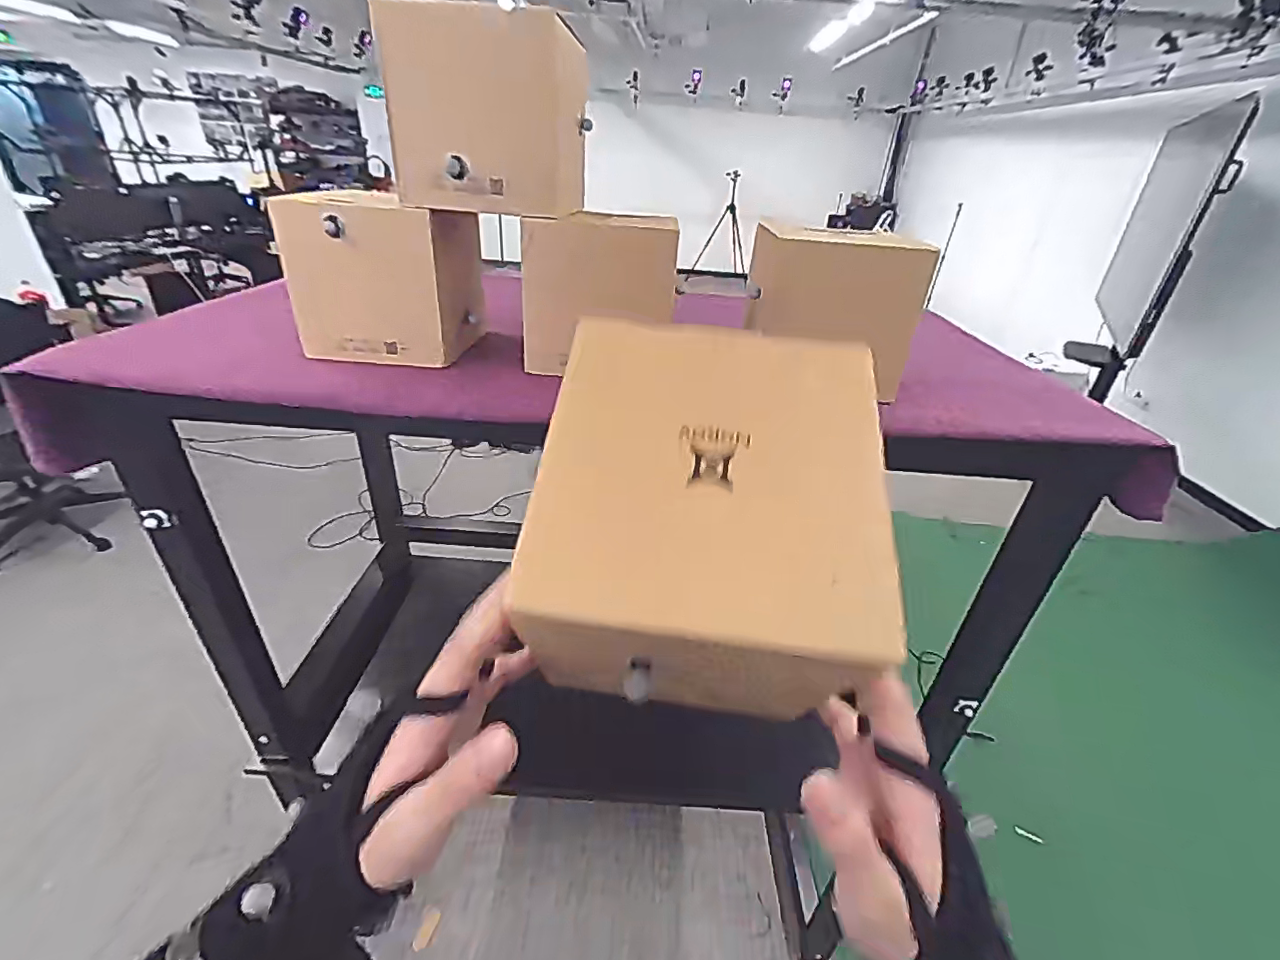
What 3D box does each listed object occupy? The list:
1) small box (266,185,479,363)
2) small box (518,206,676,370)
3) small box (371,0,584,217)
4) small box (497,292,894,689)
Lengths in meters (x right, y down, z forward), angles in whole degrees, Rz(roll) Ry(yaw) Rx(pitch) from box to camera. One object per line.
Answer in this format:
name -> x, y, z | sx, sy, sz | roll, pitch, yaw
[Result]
small box -> -0.300, -0.251, 0.652 | 0.168, 0.176, 0.179 | 4, 29, -1
small box -> -0.047, -0.232, 0.657 | 0.168, 0.176, 0.179 | 4, 30, 0
small box -> -0.156, -0.384, 0.578 | 0.168, 0.176, 0.179 | 5, 30, 2
small box -> 0.030, 0.017, 0.328 | 0.168, 0.176, 0.179 | 7, 58, 3
